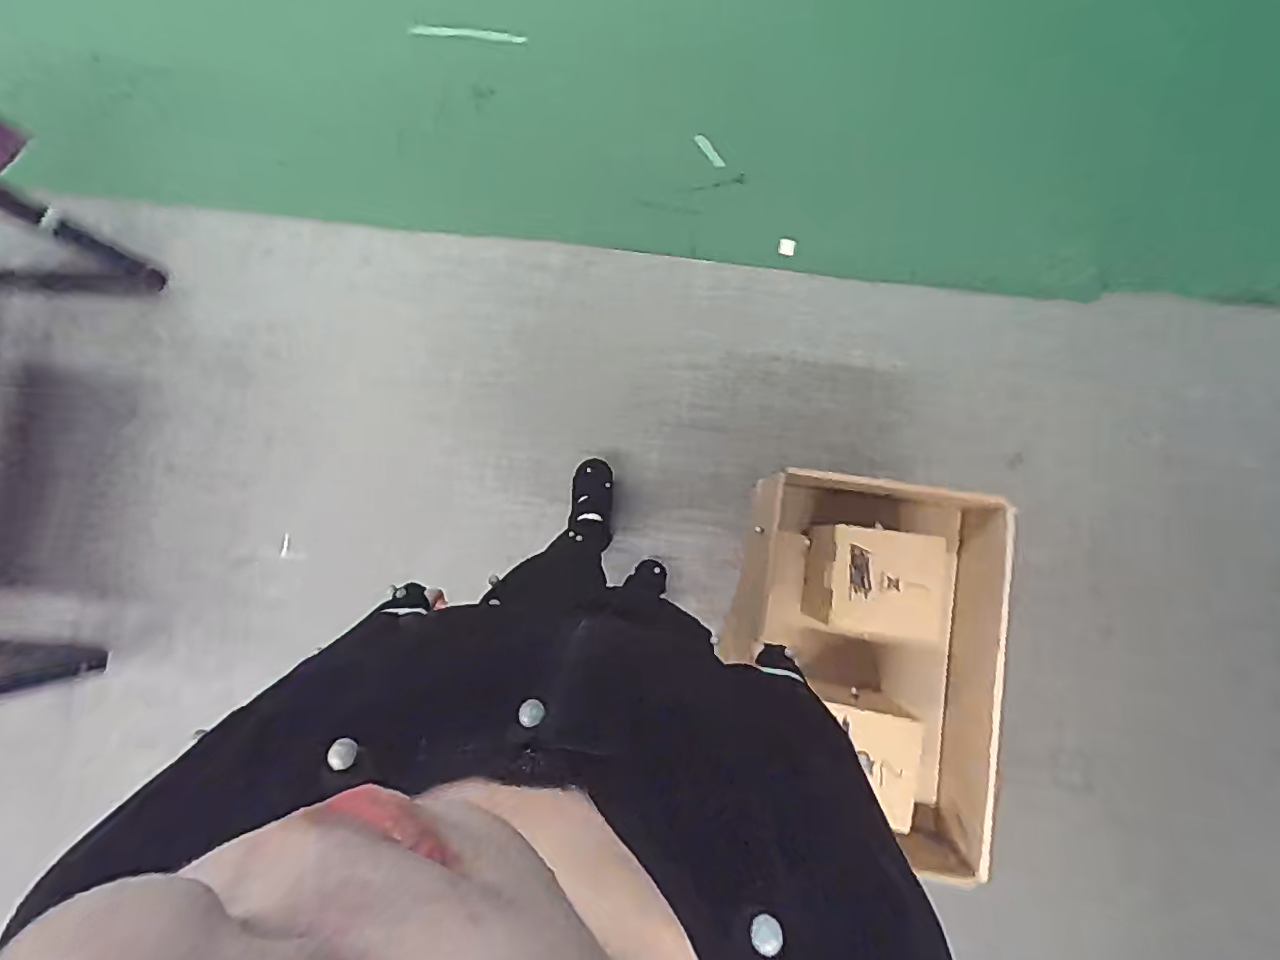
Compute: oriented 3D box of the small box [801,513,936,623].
[{"bbox_3d":[0.386,0.148,0.939,0.179,0.176,0.168,3,84,2],"label":"small box"}]
